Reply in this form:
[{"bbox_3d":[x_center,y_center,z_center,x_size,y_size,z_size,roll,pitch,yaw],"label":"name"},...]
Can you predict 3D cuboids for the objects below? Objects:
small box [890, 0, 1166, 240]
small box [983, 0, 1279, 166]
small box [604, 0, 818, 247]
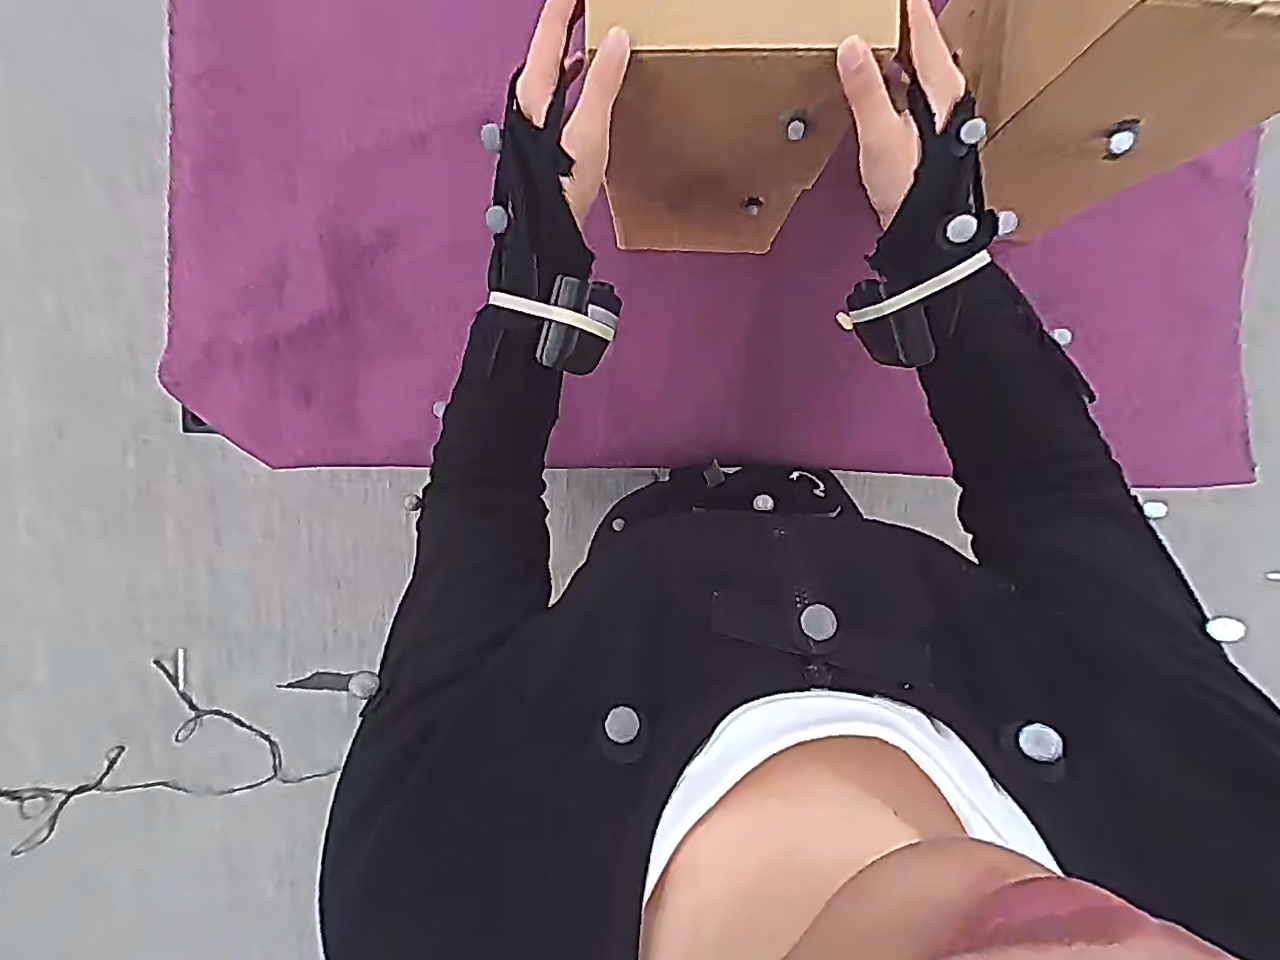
[{"bbox_3d":[0.364,-0.357,0.521,0.168,0.176,0.179,6,95,1],"label":"small box"},{"bbox_3d":[0.362,-0.344,0.357,0.168,0.176,0.179,5,95,2],"label":"small box"},{"bbox_3d":[0.061,-0.342,0.533,0.179,0.176,0.168,2,94,1],"label":"small box"}]
